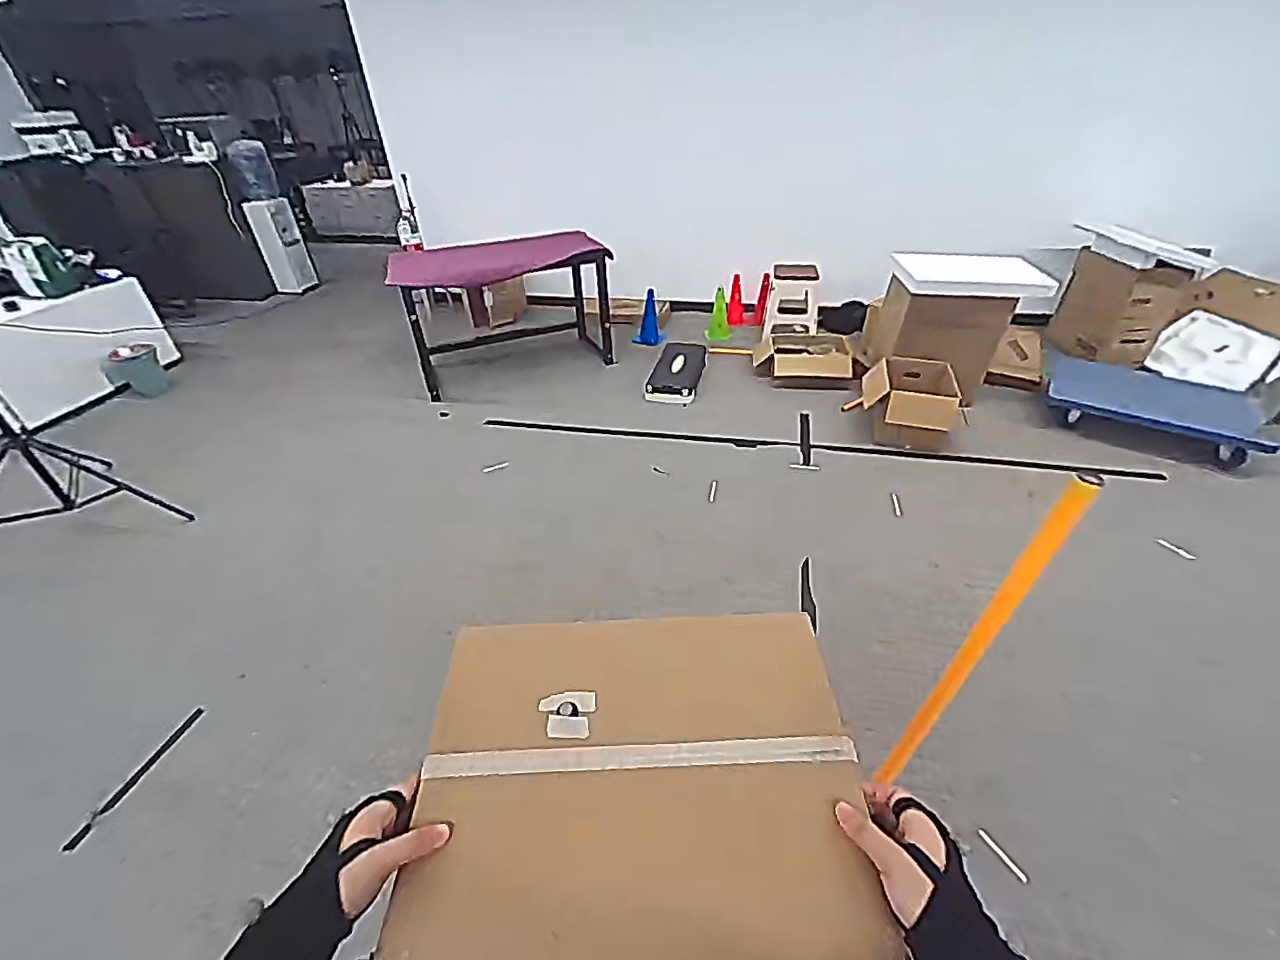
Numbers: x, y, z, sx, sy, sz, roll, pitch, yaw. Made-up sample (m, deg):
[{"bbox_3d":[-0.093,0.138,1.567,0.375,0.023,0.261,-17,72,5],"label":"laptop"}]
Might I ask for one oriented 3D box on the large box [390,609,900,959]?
[{"bbox_3d":[0.010,0.379,0.621,0.408,0.320,0.320,-4,40,2],"label":"large box"}]
